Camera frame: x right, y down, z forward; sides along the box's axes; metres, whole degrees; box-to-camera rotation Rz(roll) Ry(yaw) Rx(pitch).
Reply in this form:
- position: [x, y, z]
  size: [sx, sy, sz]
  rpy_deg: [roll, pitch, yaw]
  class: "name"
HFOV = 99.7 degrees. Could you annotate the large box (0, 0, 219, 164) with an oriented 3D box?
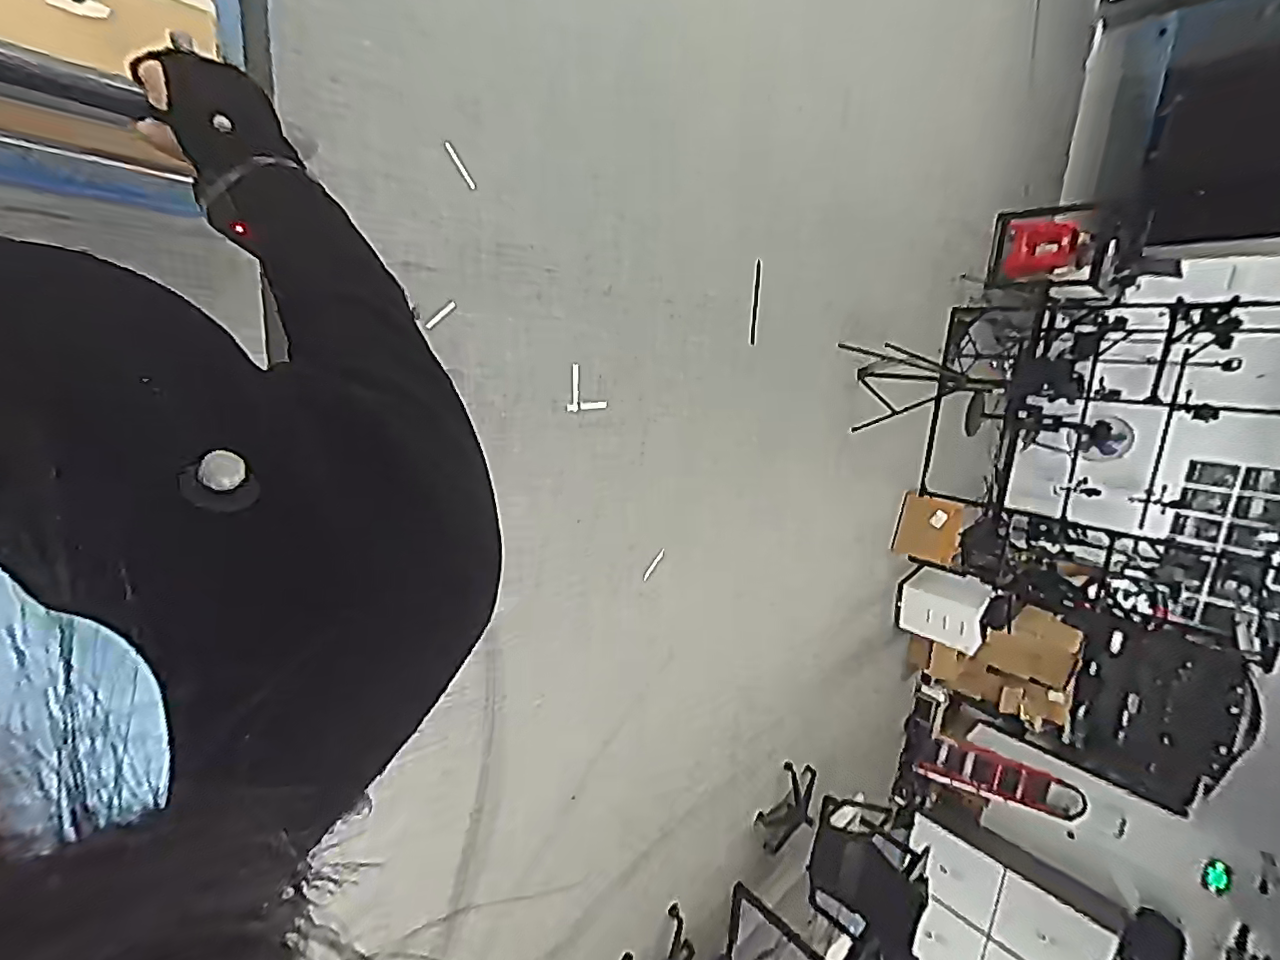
- position: [-0.847, -0.666, 0.713]
  size: [0.408, 0.320, 0.320]
  rpy_deg: [-9, 109, -44]
  class: "large box"
